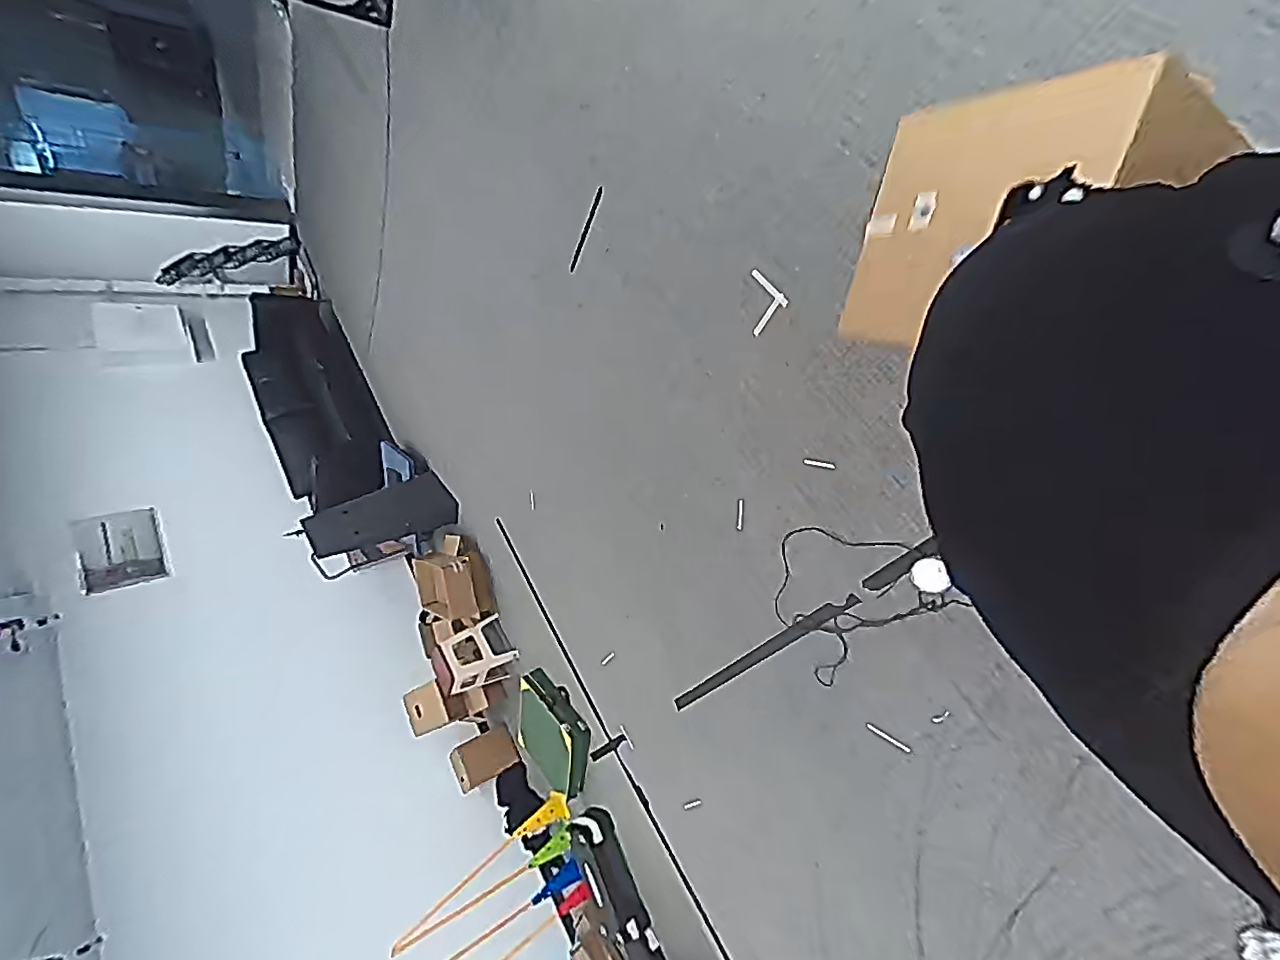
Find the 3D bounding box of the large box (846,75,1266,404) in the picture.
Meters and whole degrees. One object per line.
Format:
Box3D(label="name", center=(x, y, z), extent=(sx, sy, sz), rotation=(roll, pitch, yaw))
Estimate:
Box3D(label="large box", center=(0.593, -0.319, 0.806), extent=(0.320, 0.408, 0.320), rotation=(40, 121, 51))
